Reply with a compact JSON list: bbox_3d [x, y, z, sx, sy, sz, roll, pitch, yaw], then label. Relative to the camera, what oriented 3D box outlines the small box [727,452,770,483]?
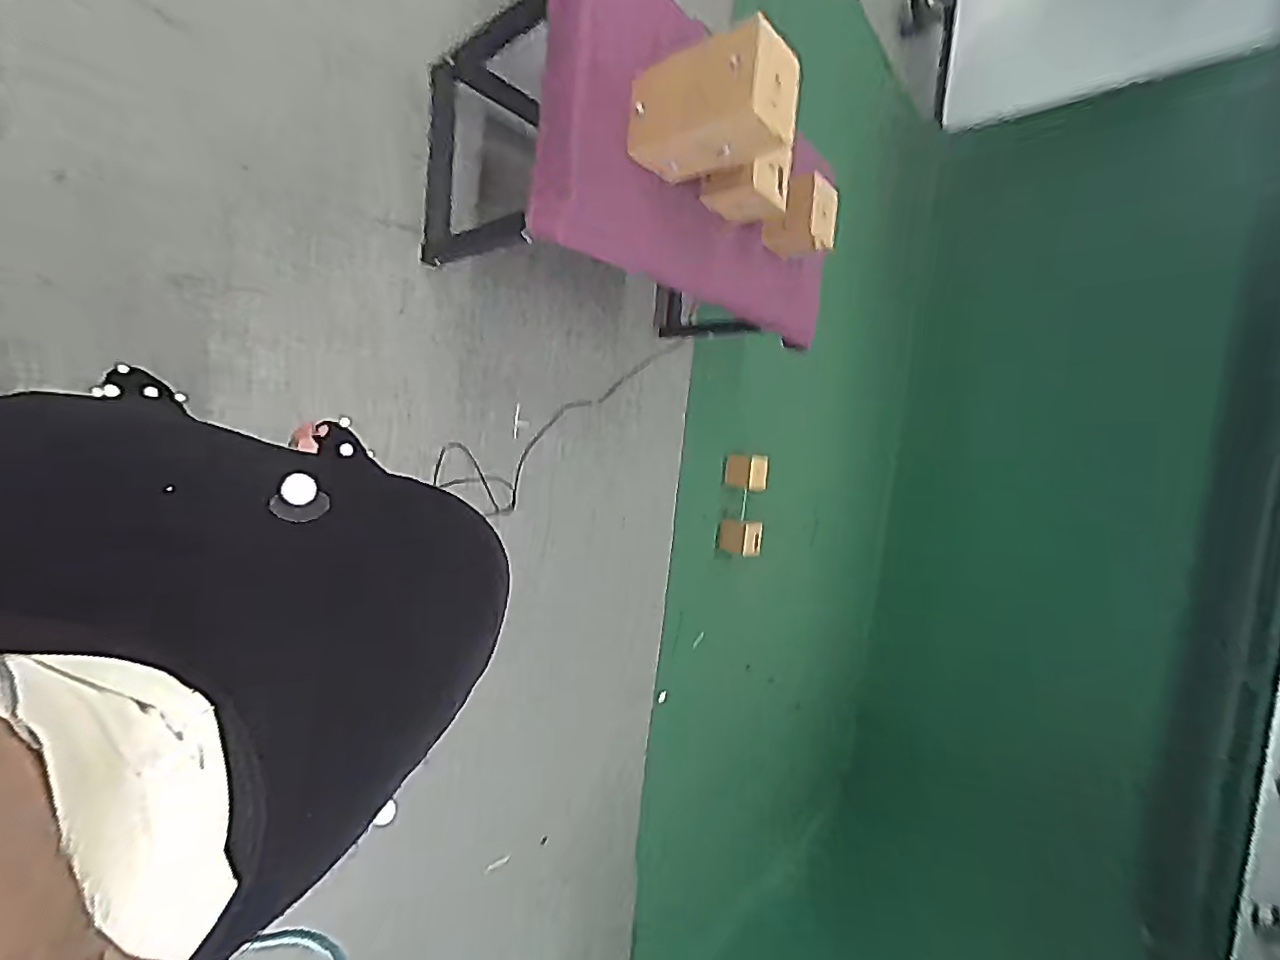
[{"bbox_3d":[0.605,-0.069,3.023,0.179,0.176,0.168,0,96,-48],"label":"small box"}]

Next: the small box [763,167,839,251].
[{"bbox_3d":[0.501,-0.837,1.695,0.168,0.176,0.179,0,96,-48],"label":"small box"}]

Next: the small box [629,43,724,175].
[{"bbox_3d":[0.090,-0.834,1.242,0.168,0.176,0.179,-2,99,-49],"label":"small box"}]

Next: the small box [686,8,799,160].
[{"bbox_3d":[0.213,-0.813,1.134,0.168,0.176,0.179,-2,98,-47],"label":"small box"}]

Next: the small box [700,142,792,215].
[{"bbox_3d":[0.286,-0.834,1.458,0.179,0.176,0.168,-1,97,-47],"label":"small box"}]
